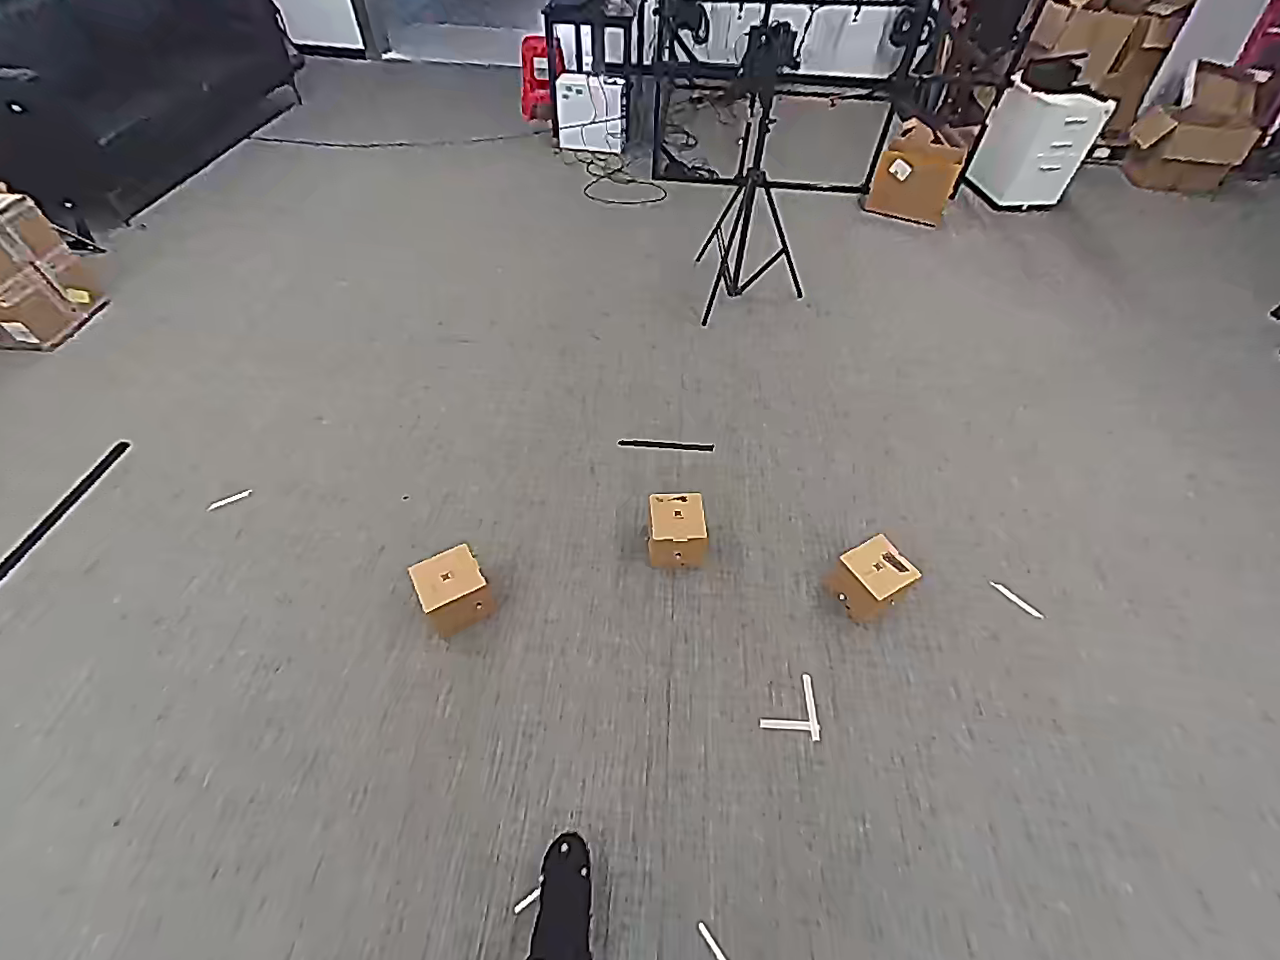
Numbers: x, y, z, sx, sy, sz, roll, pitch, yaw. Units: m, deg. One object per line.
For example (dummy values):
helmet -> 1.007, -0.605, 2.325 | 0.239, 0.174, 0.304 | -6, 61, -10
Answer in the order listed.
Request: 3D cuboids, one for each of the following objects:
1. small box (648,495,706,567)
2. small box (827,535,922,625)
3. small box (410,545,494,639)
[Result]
small box -> 0.113, 0.166, 1.721 | 0.168, 0.176, 0.179 | -1, 51, -3
small box -> 0.697, 0.303, 1.628 | 0.179, 0.176, 0.168 | -23, 55, -19
small box -> -0.535, 0.325, 1.565 | 0.179, 0.176, 0.168 | -25, 54, -20
